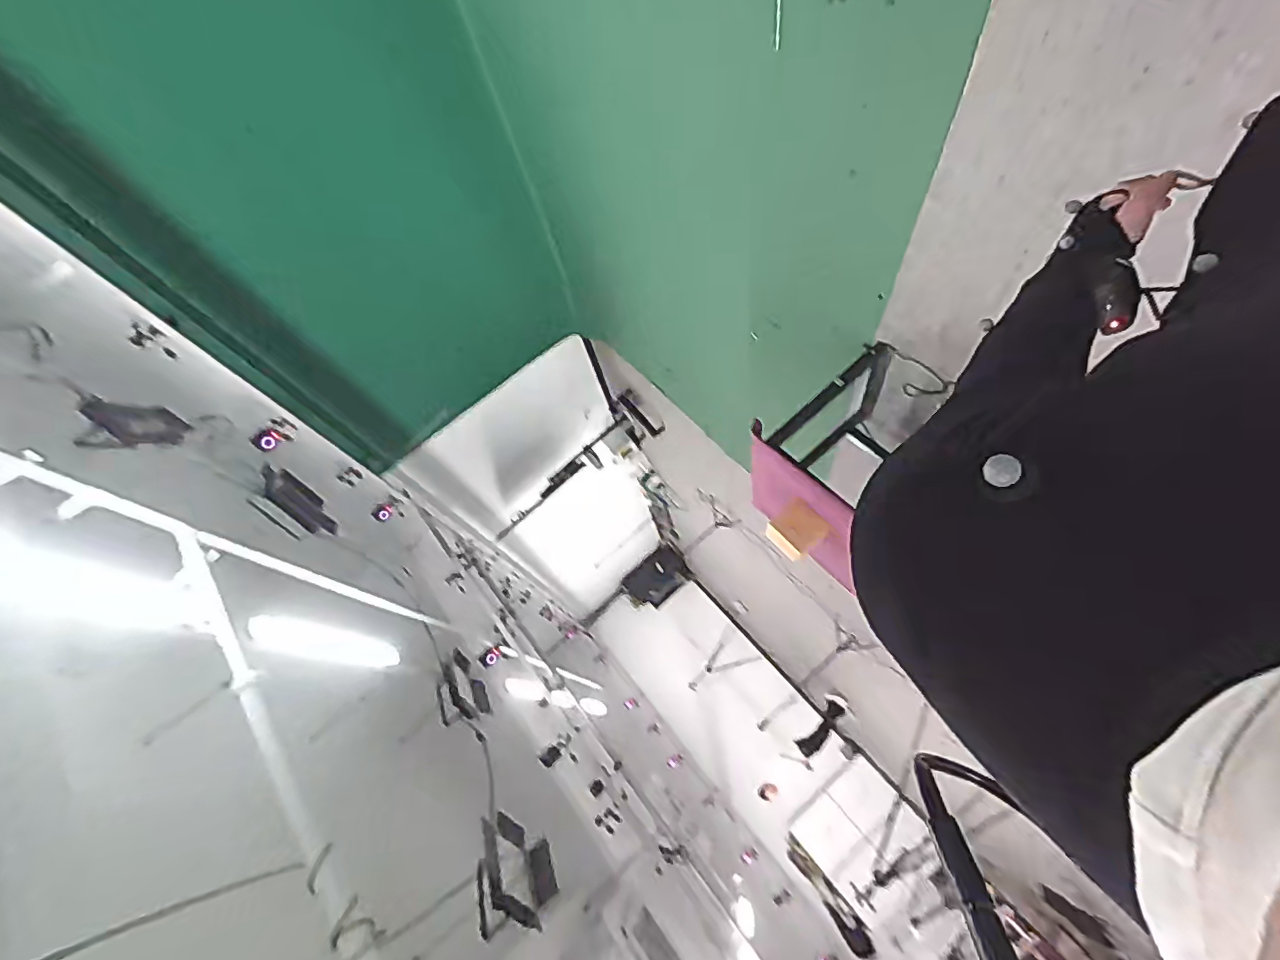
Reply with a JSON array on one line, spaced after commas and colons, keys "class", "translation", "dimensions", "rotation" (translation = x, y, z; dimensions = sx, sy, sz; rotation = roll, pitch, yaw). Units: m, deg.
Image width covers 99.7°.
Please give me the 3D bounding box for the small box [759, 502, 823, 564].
[{"class": "small box", "translation": [0.618, 0.213, 2.221], "dimensions": [0.179, 0.176, 0.168], "rotation": [45, 168, 20]}]
